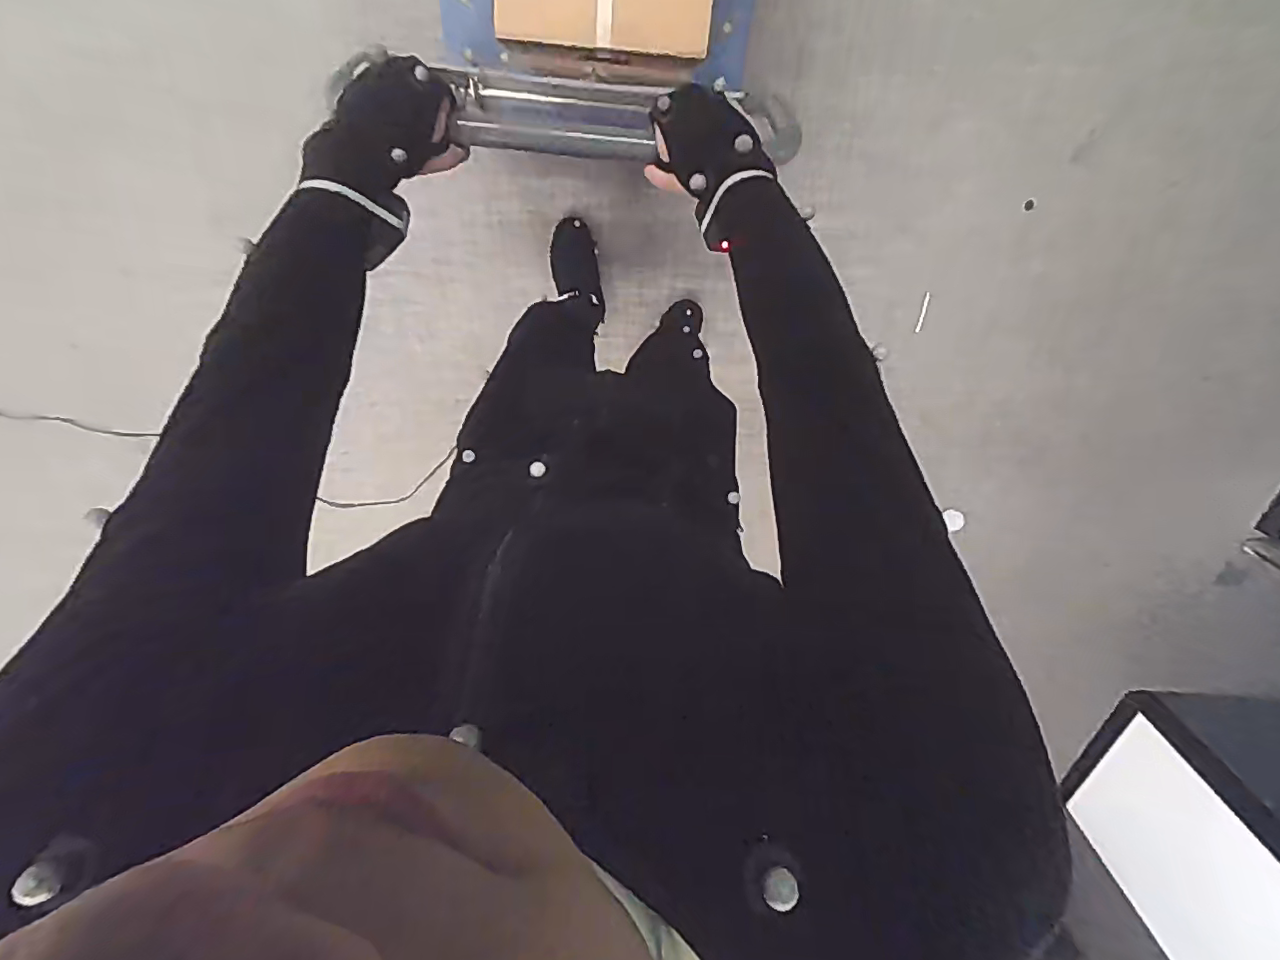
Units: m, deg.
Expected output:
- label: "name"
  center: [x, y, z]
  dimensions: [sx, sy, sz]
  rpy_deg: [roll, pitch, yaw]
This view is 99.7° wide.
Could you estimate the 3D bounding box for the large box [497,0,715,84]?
- label: "large box"
  center: [-0.042, -0.880, 0.829]
  dimensions: [0.320, 0.320, 0.408]
  rpy_deg: [3, 120, -4]
